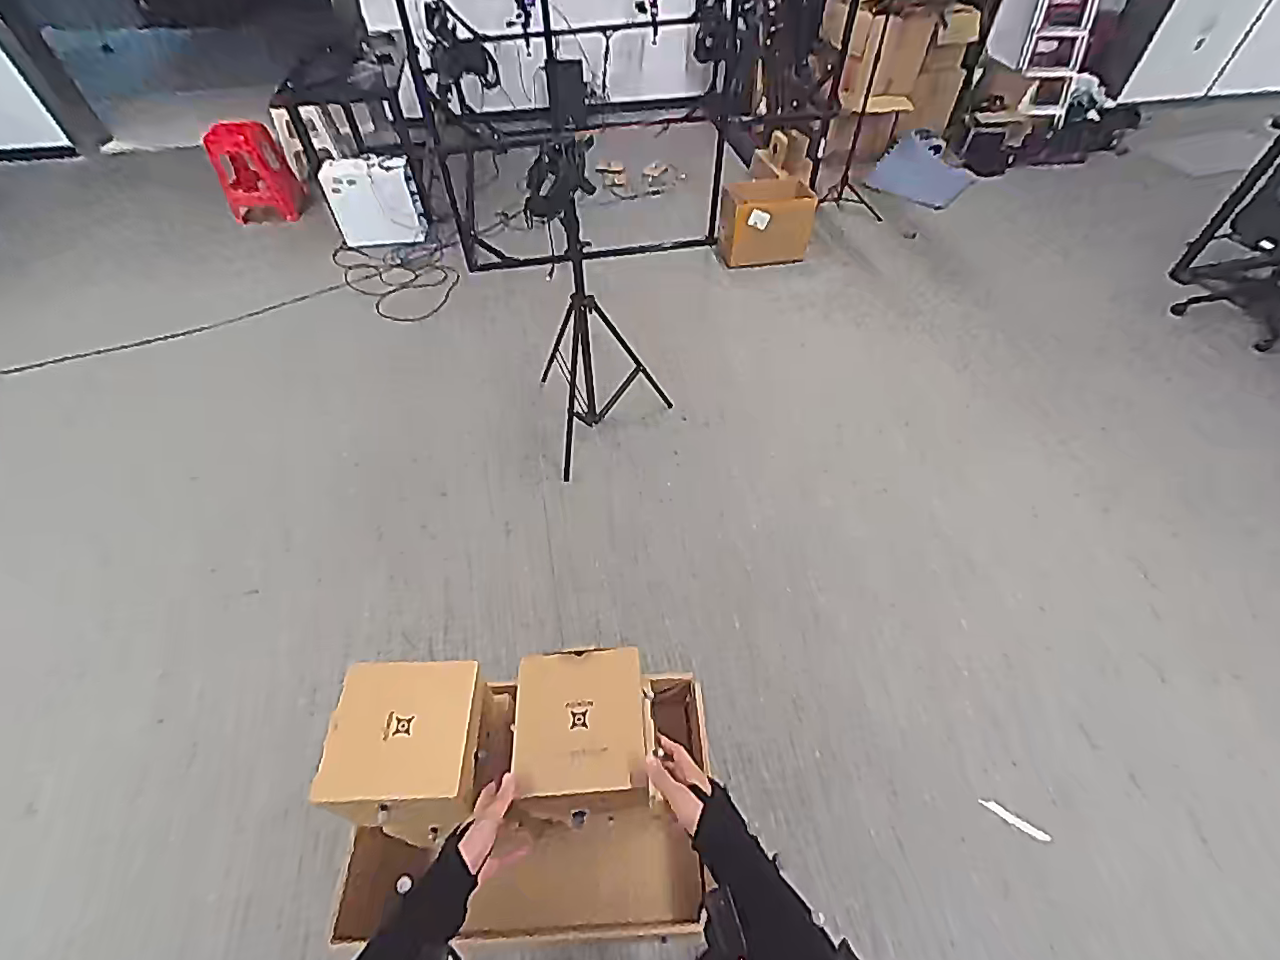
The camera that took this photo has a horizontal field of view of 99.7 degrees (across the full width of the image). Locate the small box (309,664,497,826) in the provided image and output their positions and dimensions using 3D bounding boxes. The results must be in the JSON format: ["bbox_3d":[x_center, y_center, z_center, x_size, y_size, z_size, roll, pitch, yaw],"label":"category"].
[{"bbox_3d":[-0.302,0.363,0.740,0.179,0.176,0.168,-1,49,-2],"label":"small box"}]

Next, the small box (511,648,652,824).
[{"bbox_3d":[-0.072,0.352,0.744,0.168,0.176,0.179,-5,49,0],"label":"small box"}]
